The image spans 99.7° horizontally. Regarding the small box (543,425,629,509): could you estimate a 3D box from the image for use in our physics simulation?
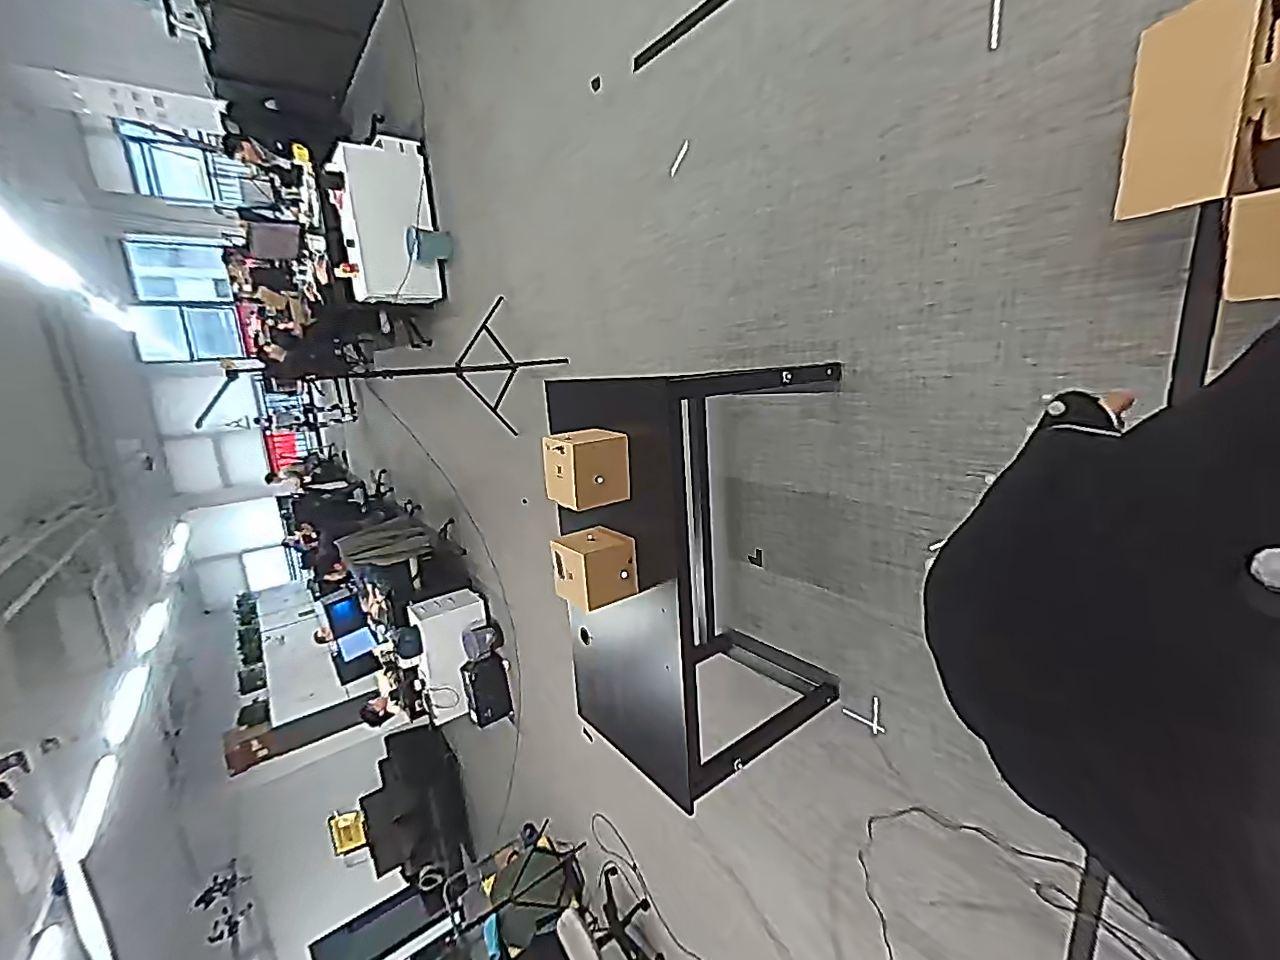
[{"bbox_3d":[-0.140,-0.040,1.442,0.168,0.176,0.179,17,115,51],"label":"small box"}]

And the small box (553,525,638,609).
[{"bbox_3d":[-0.124,0.233,1.507,0.179,0.176,0.168,13,111,52],"label":"small box"}]
